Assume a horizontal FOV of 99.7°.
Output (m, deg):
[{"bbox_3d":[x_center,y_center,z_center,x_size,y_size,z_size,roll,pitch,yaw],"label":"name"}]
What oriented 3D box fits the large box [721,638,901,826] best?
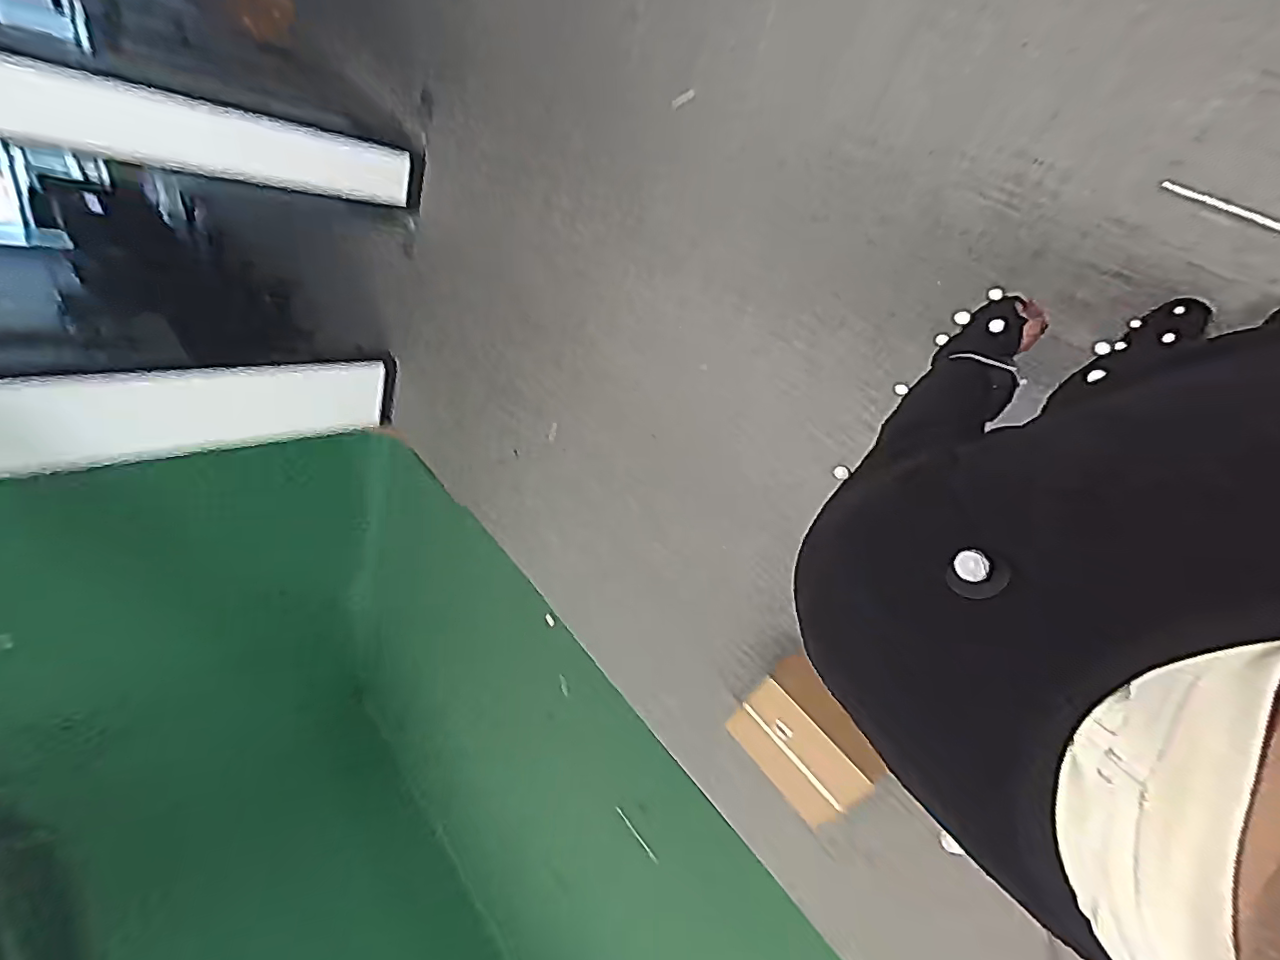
[{"bbox_3d":[0.557,0.812,1.782,0.408,0.320,0.320,46,127,25],"label":"large box"}]
